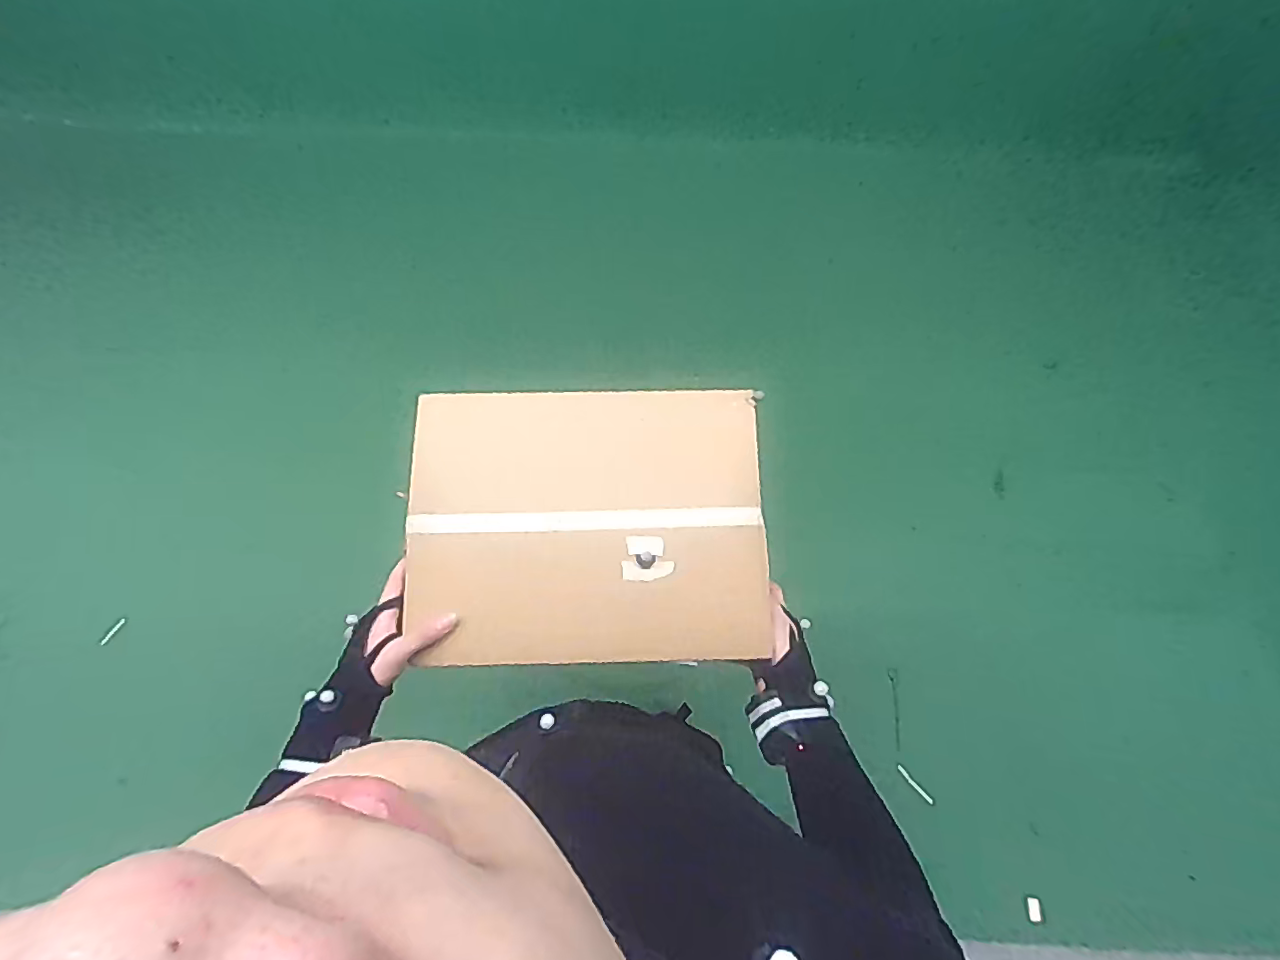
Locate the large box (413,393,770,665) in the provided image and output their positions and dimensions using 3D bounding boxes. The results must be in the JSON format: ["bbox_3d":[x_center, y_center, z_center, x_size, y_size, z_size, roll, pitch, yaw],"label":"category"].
[{"bbox_3d":[-0.062,0.080,0.773,0.408,0.320,0.320,-1,78,-2],"label":"large box"}]
